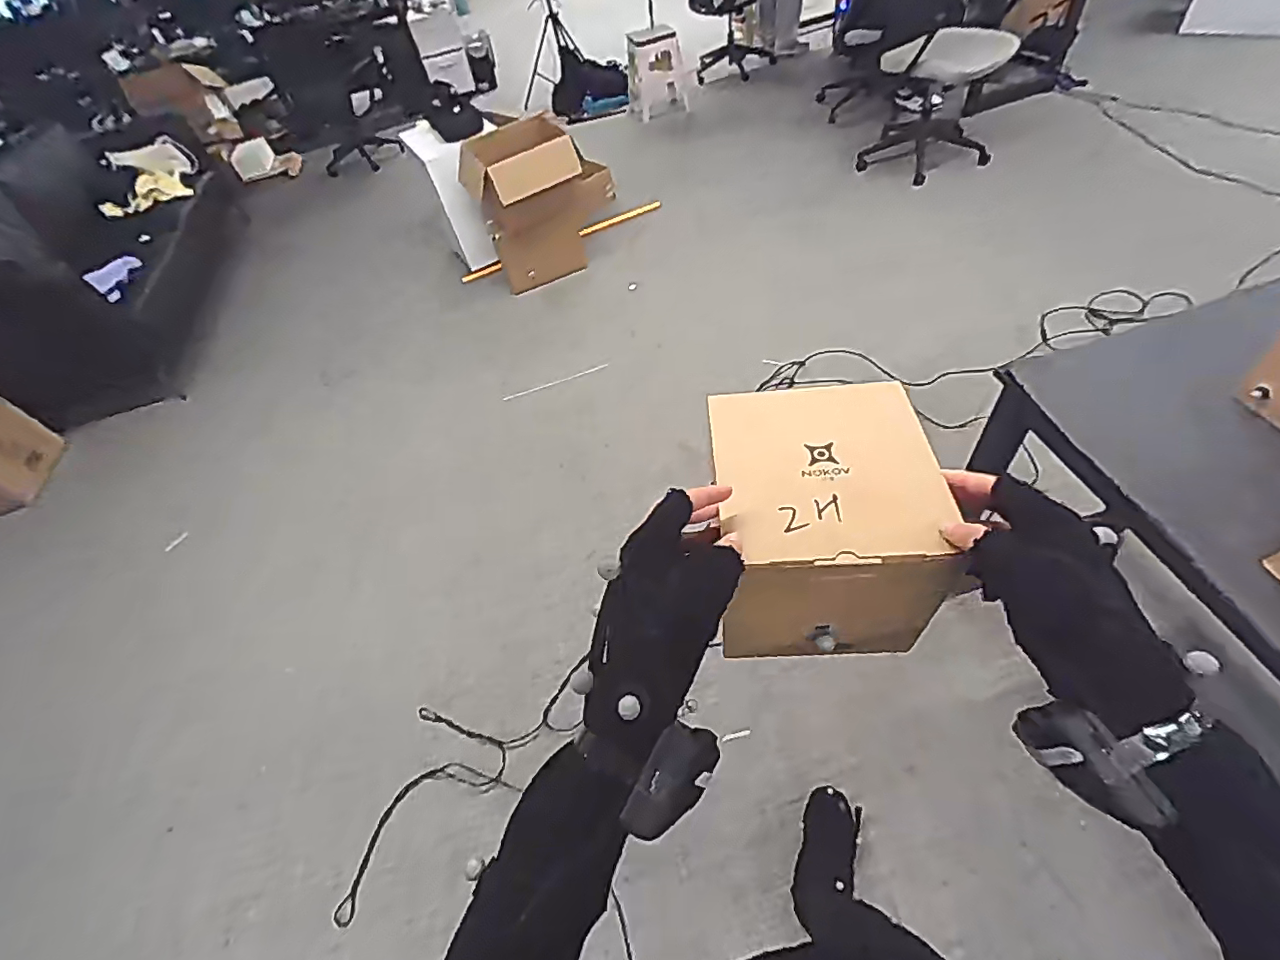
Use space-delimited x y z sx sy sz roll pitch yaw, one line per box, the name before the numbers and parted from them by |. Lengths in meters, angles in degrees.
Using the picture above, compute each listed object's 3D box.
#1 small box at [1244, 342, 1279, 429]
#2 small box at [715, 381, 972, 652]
small box | 1.009 -0.142 0.738 0.179 0.176 0.168 -15 50 -2
small box | 0.154 0.036 0.485 0.168 0.176 0.179 -4 50 6
